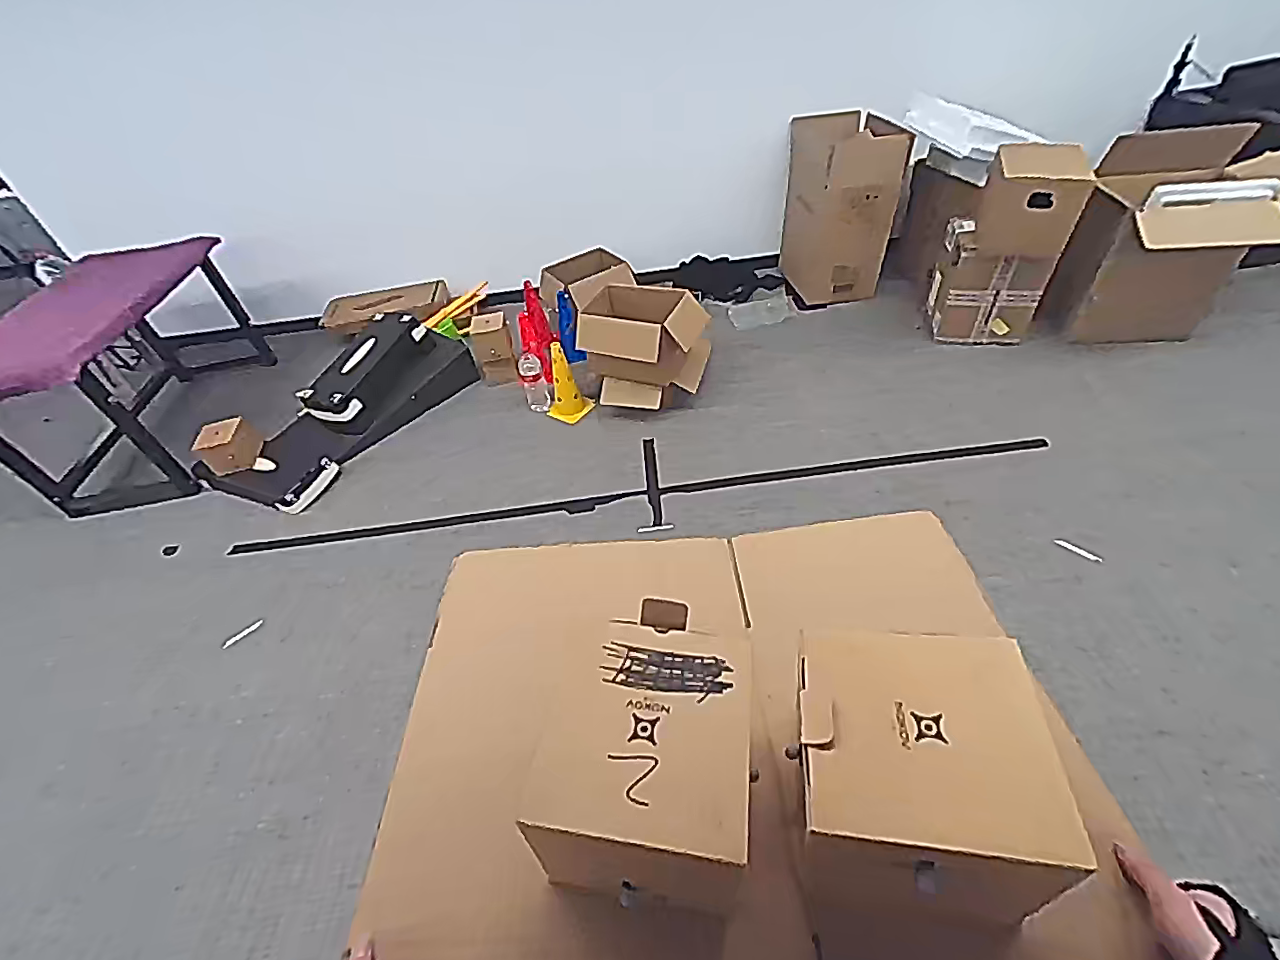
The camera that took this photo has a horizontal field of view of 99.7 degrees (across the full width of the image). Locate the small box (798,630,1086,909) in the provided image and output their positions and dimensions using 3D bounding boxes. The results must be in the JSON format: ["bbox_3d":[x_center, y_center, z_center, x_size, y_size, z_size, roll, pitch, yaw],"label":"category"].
[{"bbox_3d":[0.234,0.253,0.478,0.179,0.176,0.168,-2,43,15],"label":"small box"}]
